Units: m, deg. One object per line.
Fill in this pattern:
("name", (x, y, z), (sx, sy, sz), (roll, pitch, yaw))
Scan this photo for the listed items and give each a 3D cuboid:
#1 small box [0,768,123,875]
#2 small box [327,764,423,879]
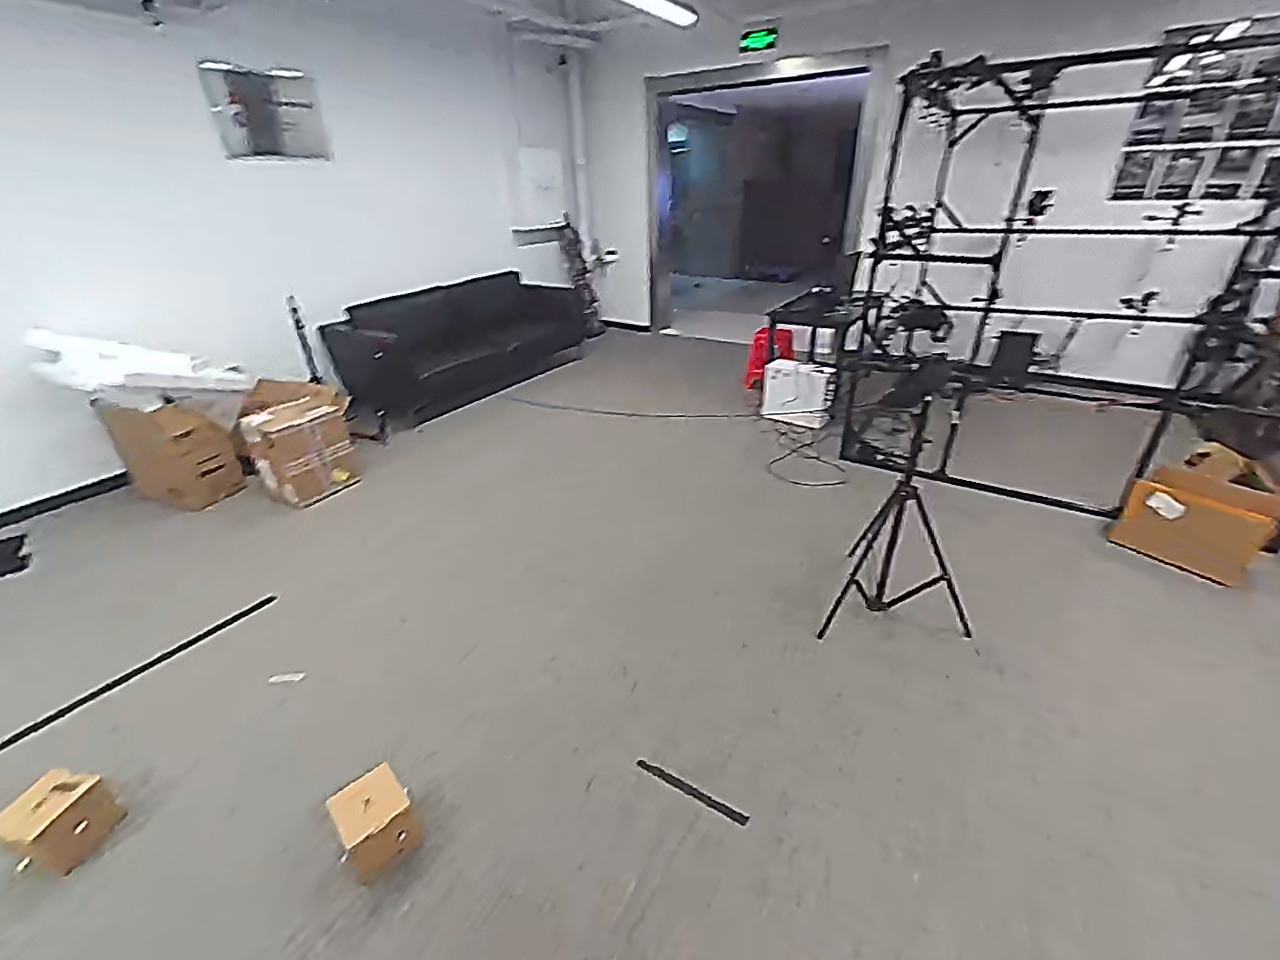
("small box", (-1.584, 0.933, 1.481), (0.168, 0.176, 0.179), (4, 29, 10))
("small box", (-0.711, 0.927, 1.461), (0.168, 0.176, 0.179), (-24, 35, -38))
